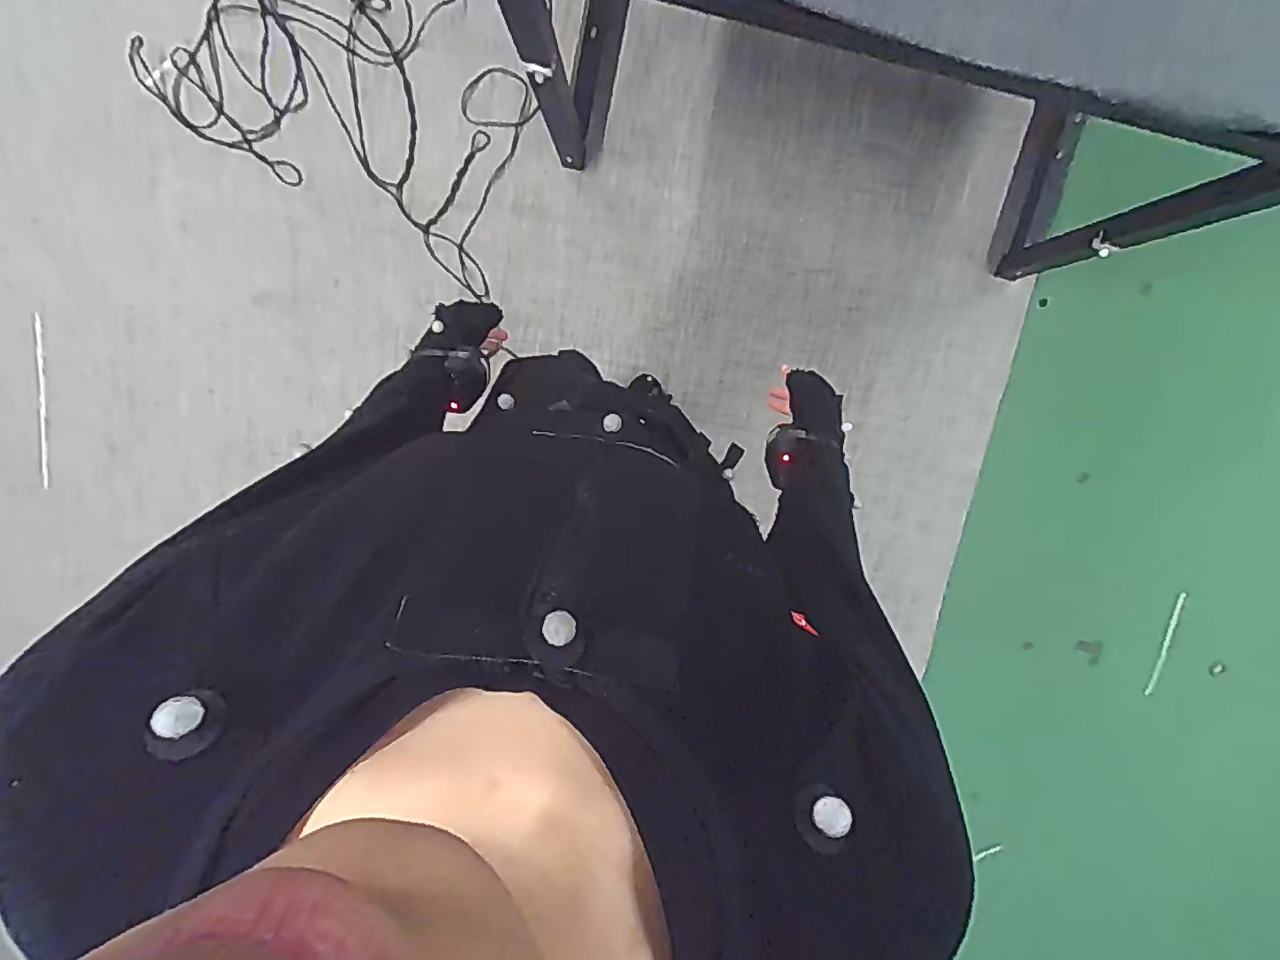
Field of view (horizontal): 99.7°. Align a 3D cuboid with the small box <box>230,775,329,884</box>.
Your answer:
[{"bbox_3d":[-1.004,0.973,1.515,0.168,0.176,0.179,12,100,-1],"label":"small box"}]
